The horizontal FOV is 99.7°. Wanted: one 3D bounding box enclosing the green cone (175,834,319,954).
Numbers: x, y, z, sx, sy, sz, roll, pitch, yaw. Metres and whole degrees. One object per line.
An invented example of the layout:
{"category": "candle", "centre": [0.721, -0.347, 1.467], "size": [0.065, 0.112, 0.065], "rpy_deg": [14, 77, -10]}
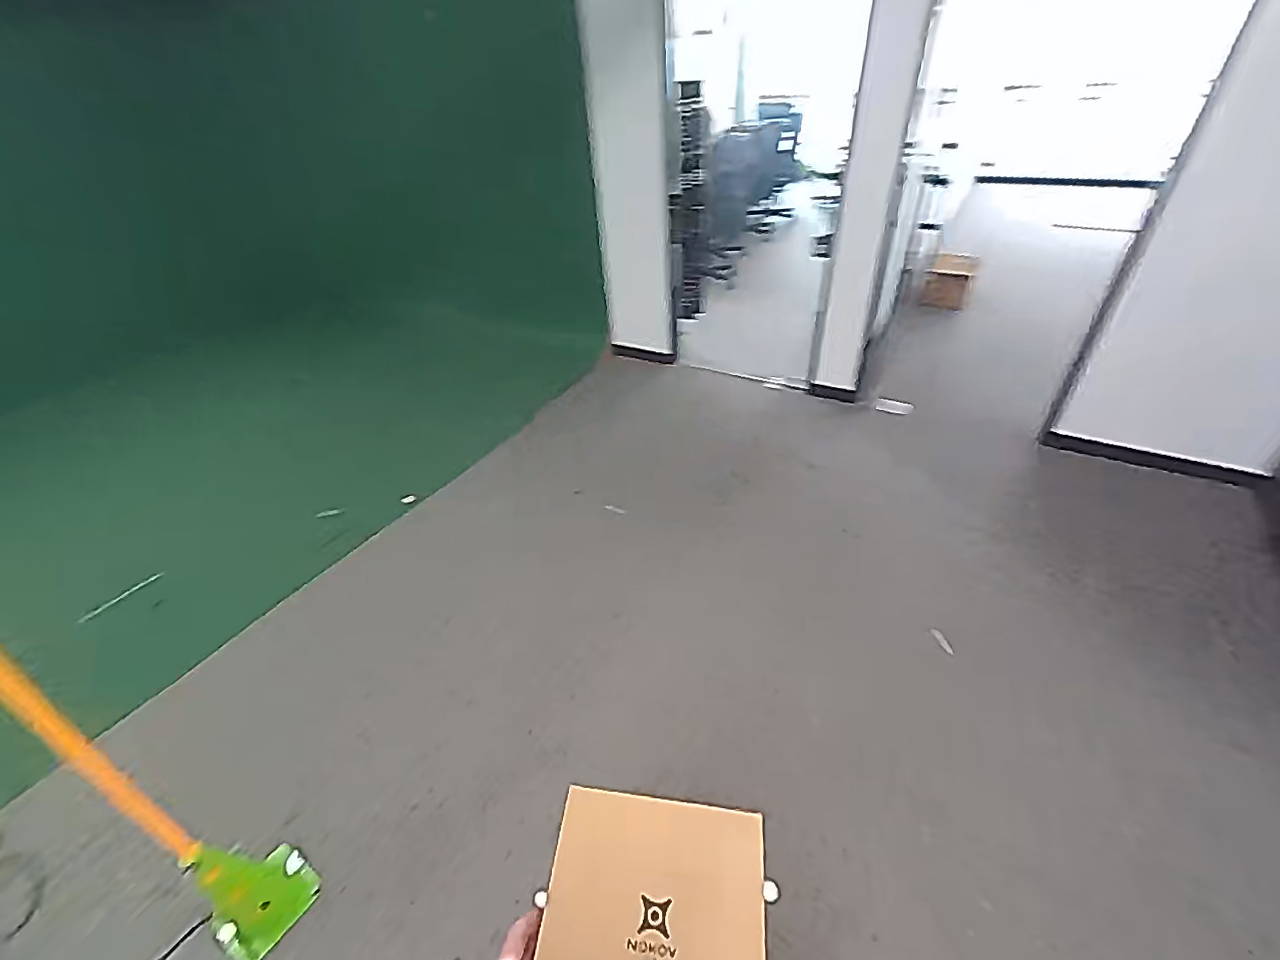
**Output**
{"category": "green cone", "centre": [-0.979, 0.932, 1.294], "size": [0.200, 0.368, 0.202], "rpy_deg": [20, 45, 28]}

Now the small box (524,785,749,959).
{"category": "small box", "centre": [-0.001, 0.393, 0.464], "size": [0.168, 0.176, 0.179], "rpy_deg": [5, 46, 6]}
